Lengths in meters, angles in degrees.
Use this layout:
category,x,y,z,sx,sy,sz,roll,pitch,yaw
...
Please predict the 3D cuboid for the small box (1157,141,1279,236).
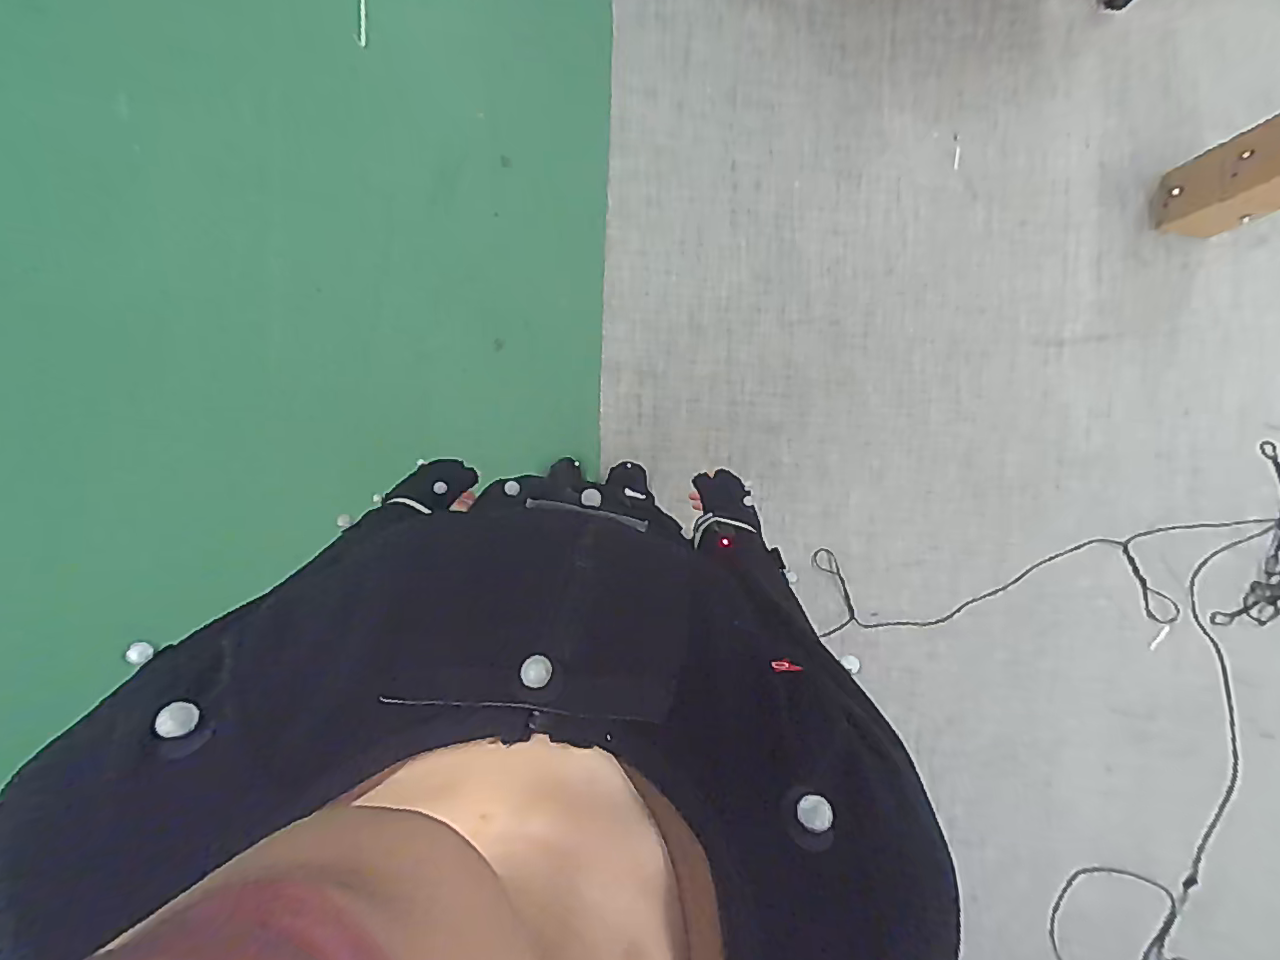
category,x,y,z,sx,sy,sz,roll,pitch,yaw
small box,1.618,-0.805,1.512,0.179,0.176,0.168,7,90,-4
